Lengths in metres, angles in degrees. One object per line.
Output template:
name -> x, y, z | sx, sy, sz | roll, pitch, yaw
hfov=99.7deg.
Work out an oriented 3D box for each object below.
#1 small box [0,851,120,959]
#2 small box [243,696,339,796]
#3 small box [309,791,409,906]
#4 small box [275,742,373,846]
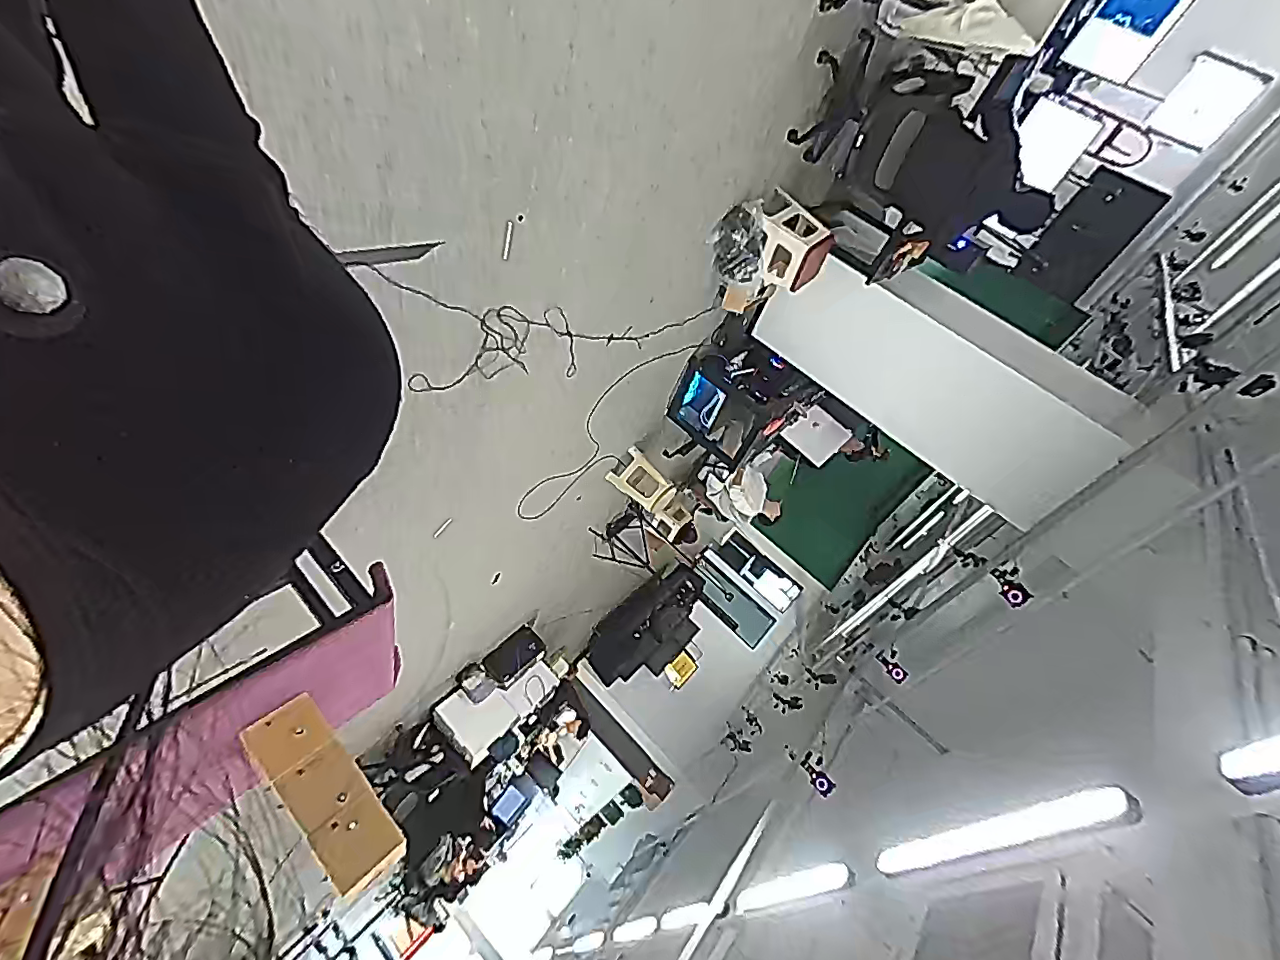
small box -> -1.268, 0.941, 1.154 | 0.168, 0.176, 0.179 | -31, 156, -48
small box -> -0.953, 0.728, 1.484 | 0.168, 0.176, 0.179 | -32, 157, -43
small box -> -0.720, 0.940, 1.389 | 0.168, 0.176, 0.179 | -32, 156, -43
small box -> -0.836, 0.836, 1.441 | 0.168, 0.176, 0.179 | -33, 158, -43
